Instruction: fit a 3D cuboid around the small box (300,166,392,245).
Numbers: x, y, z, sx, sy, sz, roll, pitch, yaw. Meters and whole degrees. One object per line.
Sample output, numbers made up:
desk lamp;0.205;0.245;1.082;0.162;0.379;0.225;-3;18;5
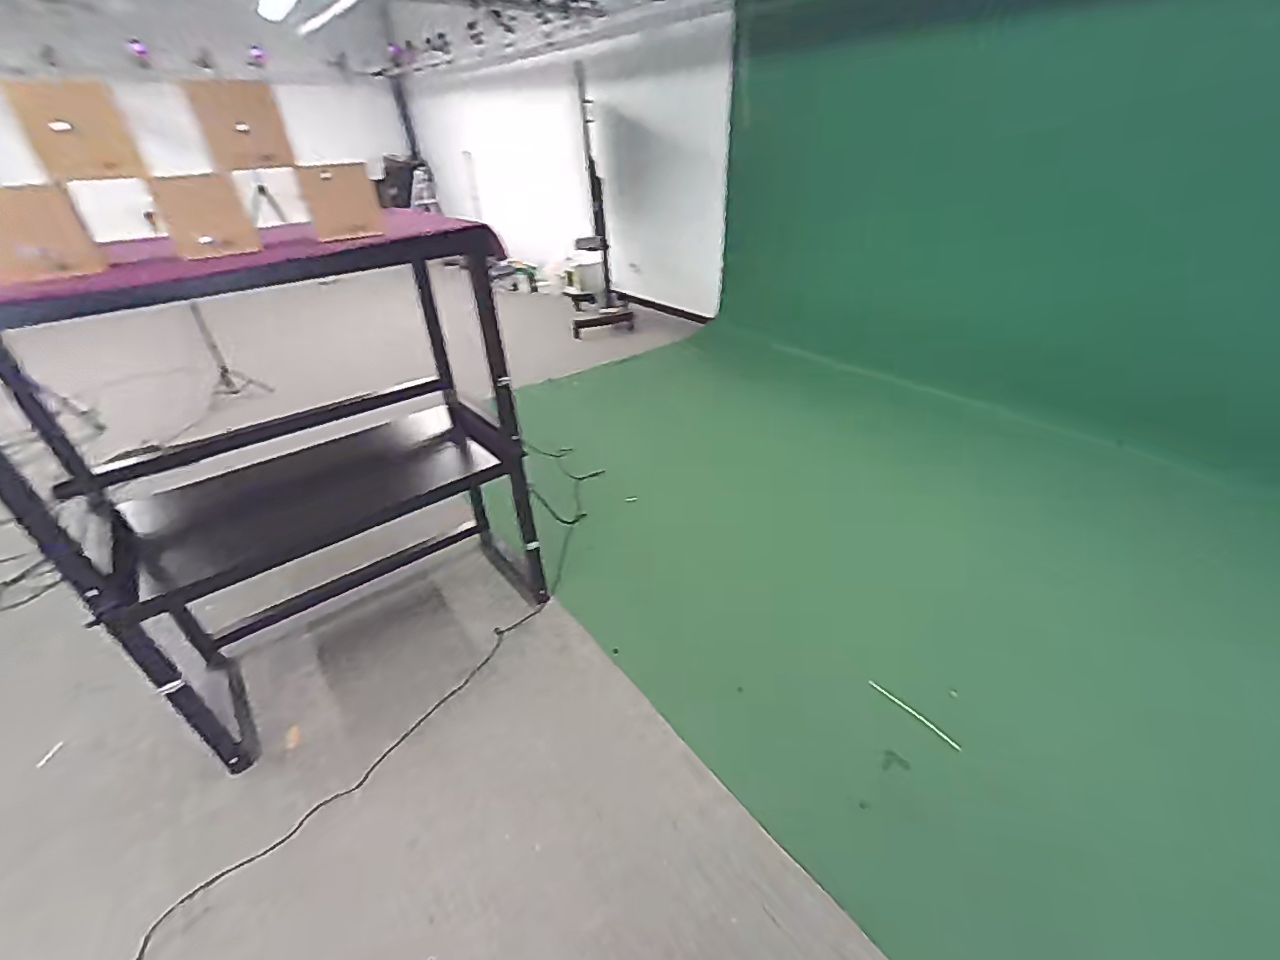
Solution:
small box;-0.767;-0.716;1.413;0.168;0.176;0.179;-20;35;-23

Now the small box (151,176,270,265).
small box;-1.001;-0.611;1.268;0.168;0.176;0.179;-24;38;-28

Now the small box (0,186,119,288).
small box;-1.215;-0.499;1.106;0.168;0.176;0.179;-26;39;-31

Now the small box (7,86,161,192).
small box;-1.126;-0.694;1.106;0.168;0.176;0.179;-28;39;-35

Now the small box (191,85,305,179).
small box;-0.903;-0.803;1.253;0.168;0.176;0.179;-23;37;-28
